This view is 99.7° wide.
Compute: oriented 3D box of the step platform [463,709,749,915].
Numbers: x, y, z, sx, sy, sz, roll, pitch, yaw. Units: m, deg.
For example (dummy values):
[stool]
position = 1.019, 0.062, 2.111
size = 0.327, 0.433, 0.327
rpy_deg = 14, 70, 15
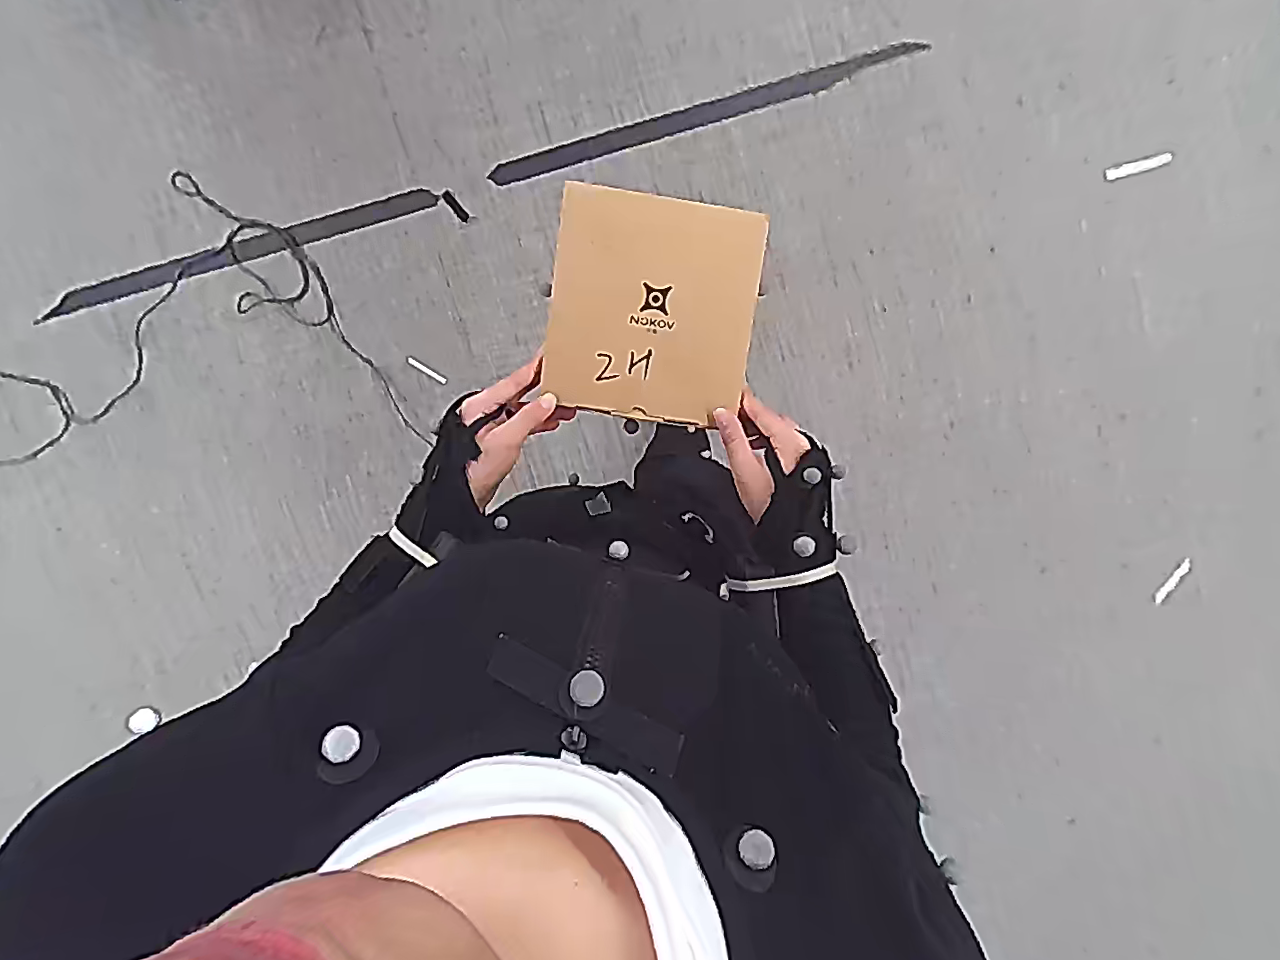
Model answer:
[step platform]
position = -0.081, 0.821, 1.346
size = 0.684, 0.204, 0.286
rpy_deg = -16, 96, 1

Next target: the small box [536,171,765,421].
[small box]
position = 0.004, -0.154, 0.512
size = 0.168, 0.176, 0.179
rpy_deg = 8, 97, -3
